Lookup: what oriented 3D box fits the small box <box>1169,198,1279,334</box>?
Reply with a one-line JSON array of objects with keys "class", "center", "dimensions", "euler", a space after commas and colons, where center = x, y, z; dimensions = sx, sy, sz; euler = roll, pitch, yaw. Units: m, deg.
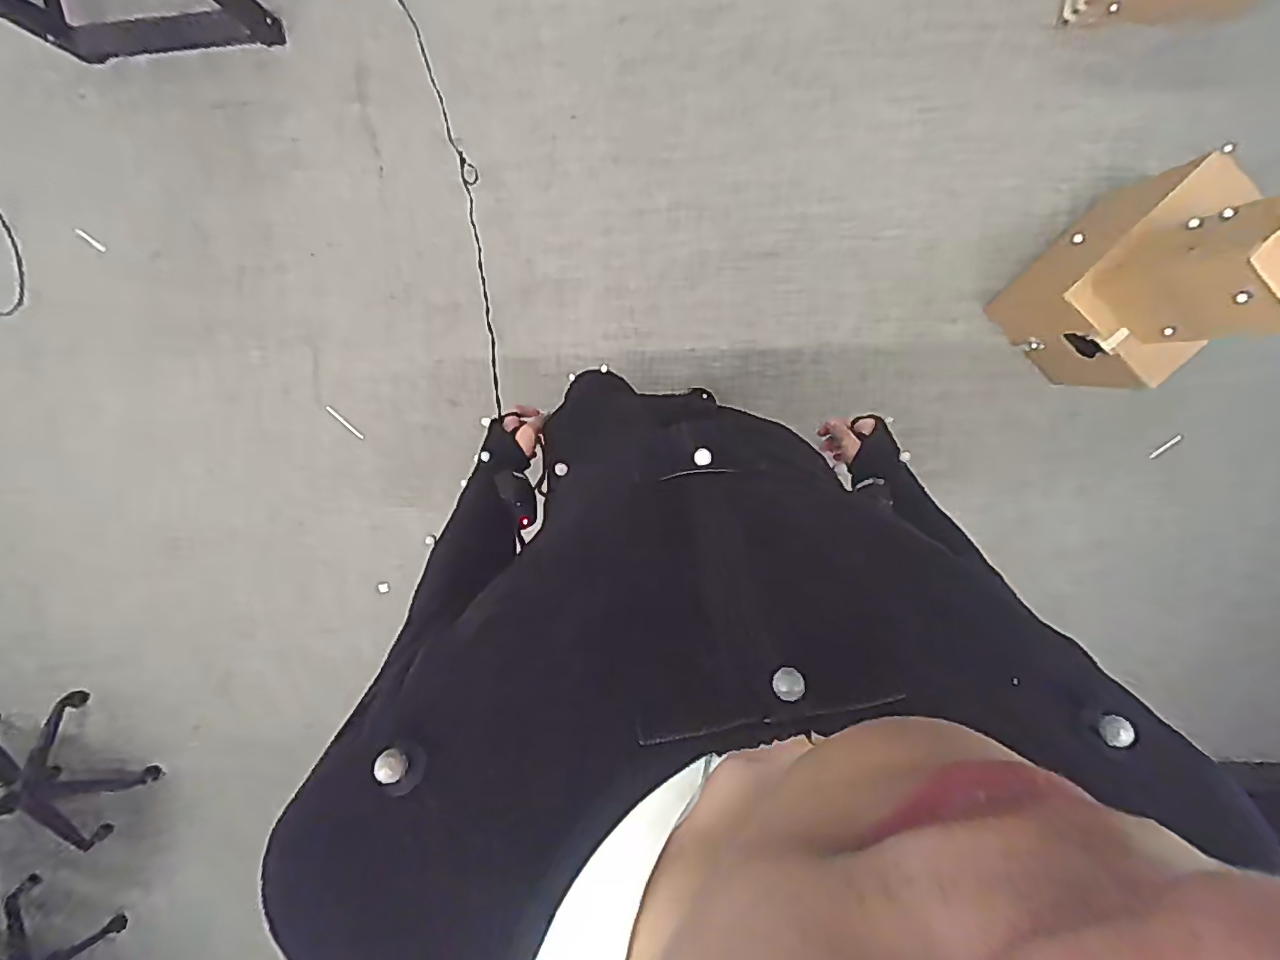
[{"class": "small box", "center": [1.091, -0.368, 0.927], "dimensions": [0.179, 0.176, 0.168], "euler": [43, 100, -6]}]

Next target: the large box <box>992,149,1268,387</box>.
[{"class": "large box", "center": [1.191, -0.474, 1.318], "dimensions": [0.320, 0.320, 0.408], "euler": [42, 100, -6]}]
